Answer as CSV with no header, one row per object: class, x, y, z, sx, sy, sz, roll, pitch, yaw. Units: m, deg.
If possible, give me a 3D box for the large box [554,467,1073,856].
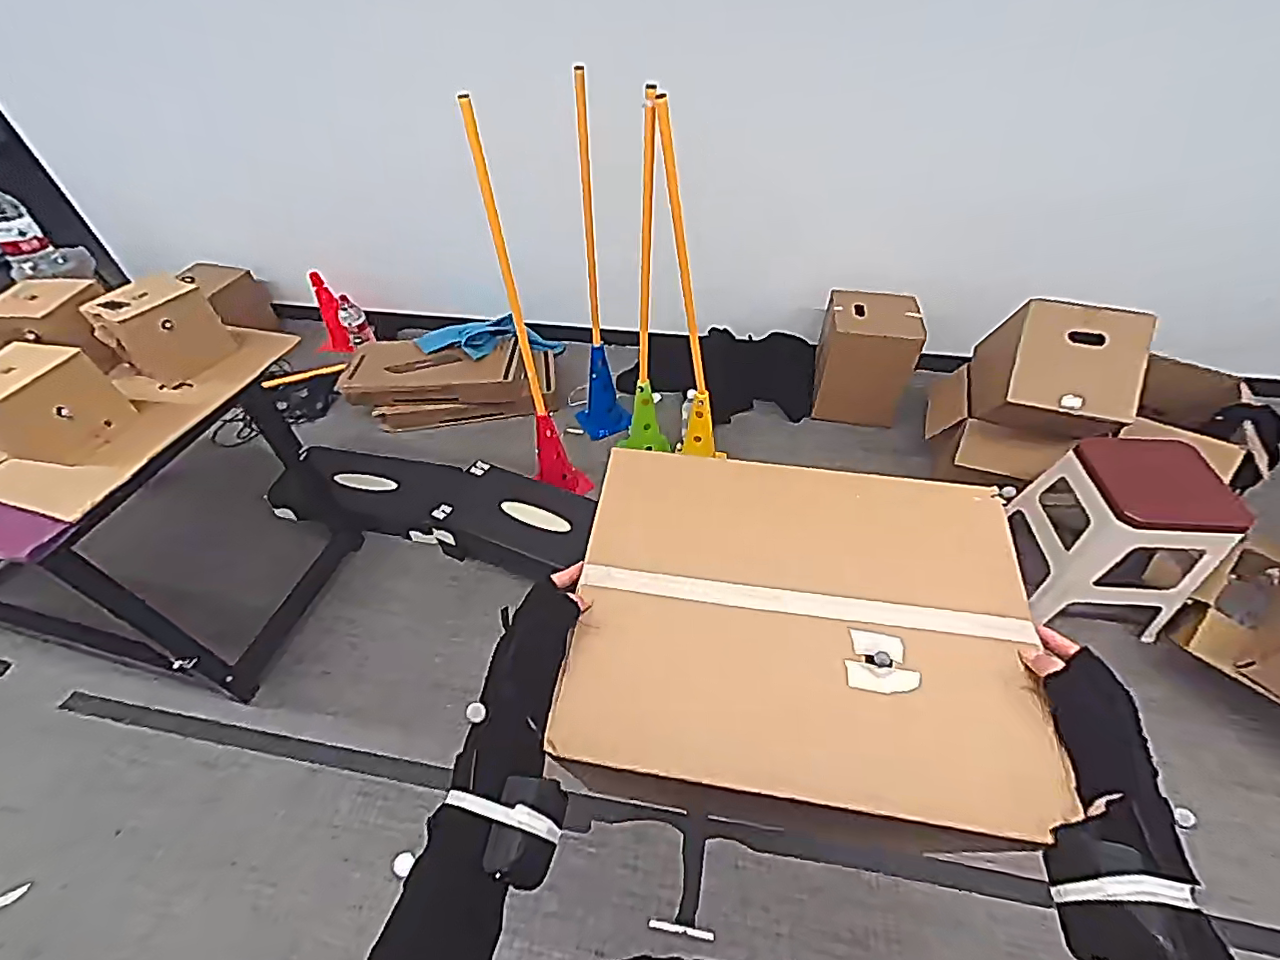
large box,0.149,0.213,0.621,0.408,0.320,0.320,7,57,7
